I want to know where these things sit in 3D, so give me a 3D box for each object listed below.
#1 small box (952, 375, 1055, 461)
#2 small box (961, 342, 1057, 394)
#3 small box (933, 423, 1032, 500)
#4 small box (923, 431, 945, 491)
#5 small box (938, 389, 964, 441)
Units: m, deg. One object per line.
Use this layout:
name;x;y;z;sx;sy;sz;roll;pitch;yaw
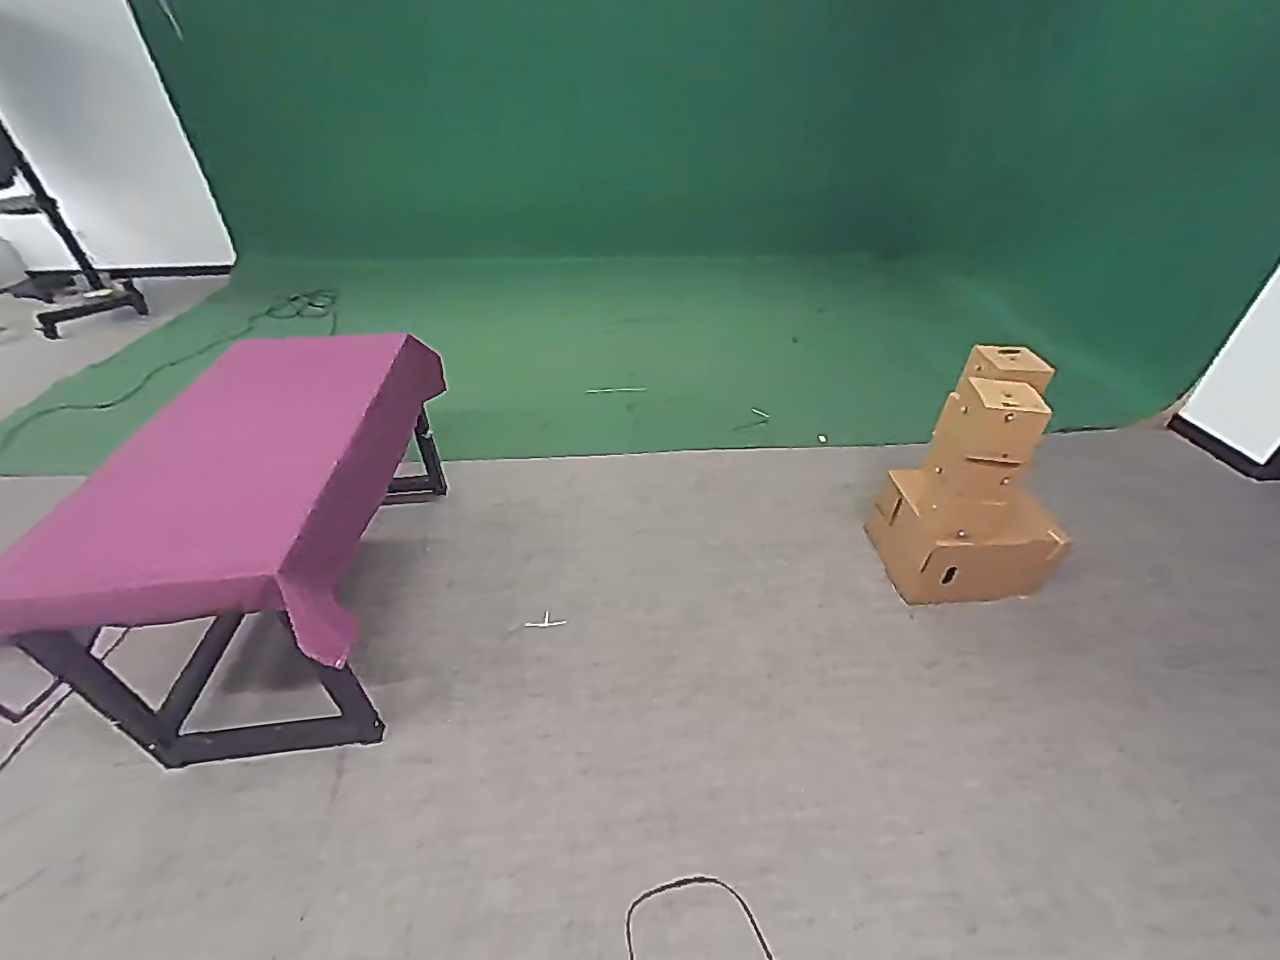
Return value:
small box;1.014;-0.177;1.531;0.168;0.176;0.179;7;38;8
small box;1.161;-0.323;1.721;0.168;0.176;0.179;2;38;1
small box;1.029;-0.056;1.642;0.179;0.176;0.168;4;38;4
small box;1.146;-0.063;1.920;0.168;0.176;0.179;-1;38;-5
small box;1.149;-0.193;1.822;0.179;0.176;0.168;-1;38;-2
